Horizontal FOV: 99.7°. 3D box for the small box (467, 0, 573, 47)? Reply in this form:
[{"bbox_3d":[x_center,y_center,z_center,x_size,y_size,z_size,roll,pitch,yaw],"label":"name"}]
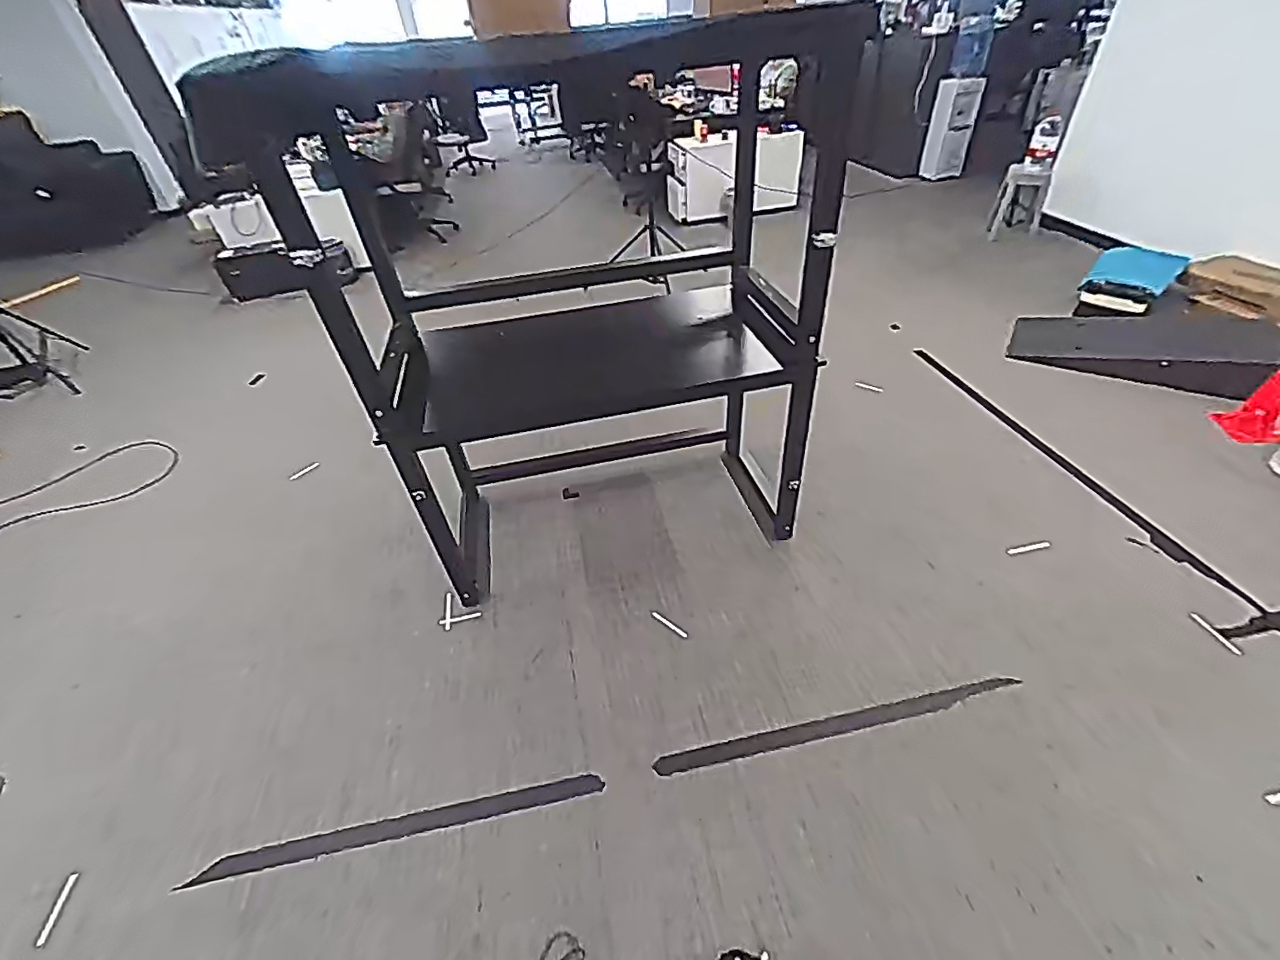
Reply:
[{"bbox_3d":[-0.229,-0.896,0.976,0.179,0.176,0.168,-13,40,-9],"label":"small box"}]
